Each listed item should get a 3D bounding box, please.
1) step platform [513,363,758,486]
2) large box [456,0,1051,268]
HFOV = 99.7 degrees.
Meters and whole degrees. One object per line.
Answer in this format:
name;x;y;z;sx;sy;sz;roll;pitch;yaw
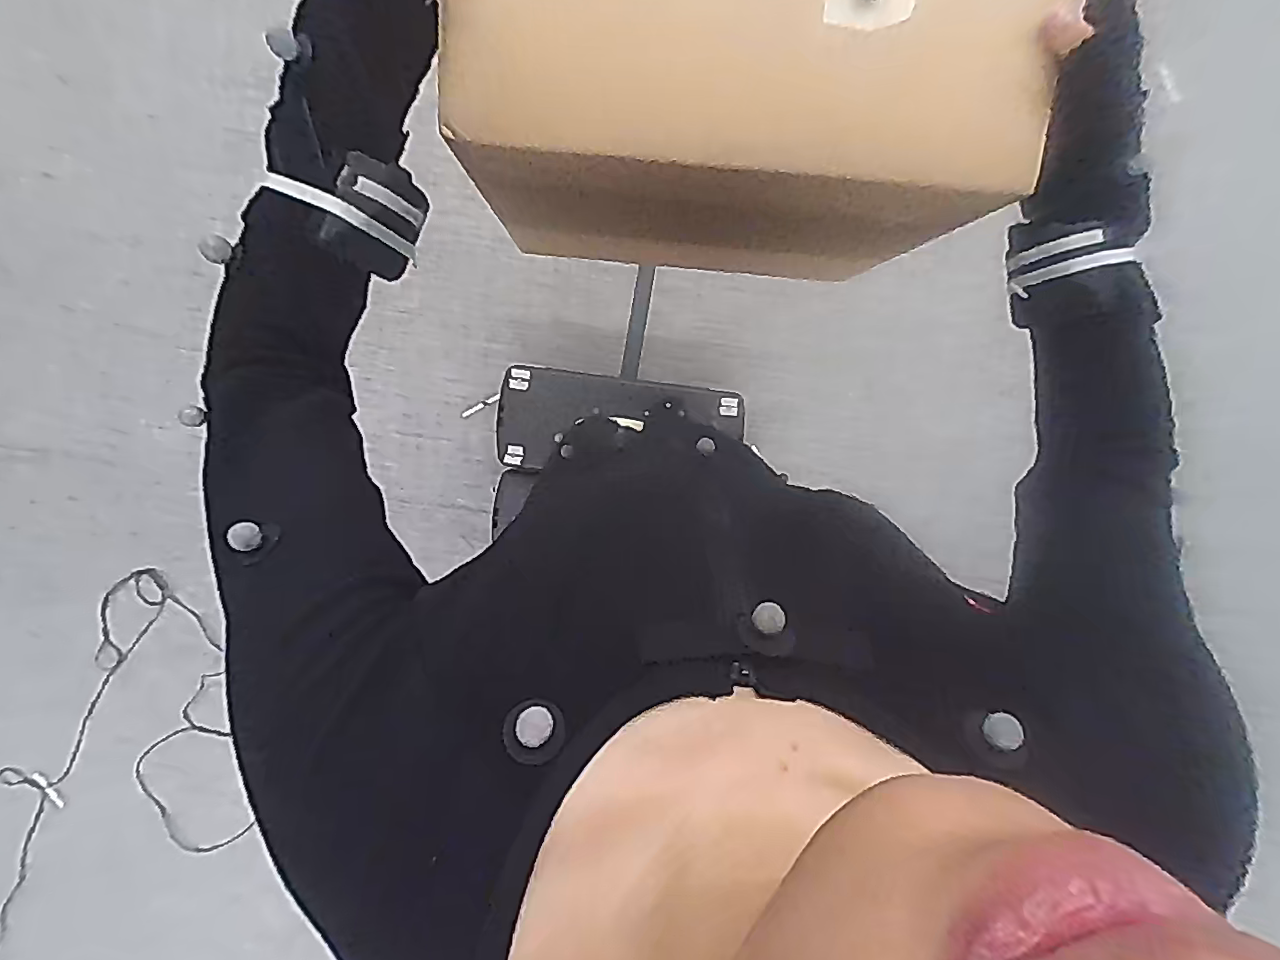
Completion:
step platform;-0.014;-0.158;1.548;0.684;0.204;0.286;6;97;-3
large box;0.072;-0.396;0.493;0.408;0.320;0.320;3;100;-4
